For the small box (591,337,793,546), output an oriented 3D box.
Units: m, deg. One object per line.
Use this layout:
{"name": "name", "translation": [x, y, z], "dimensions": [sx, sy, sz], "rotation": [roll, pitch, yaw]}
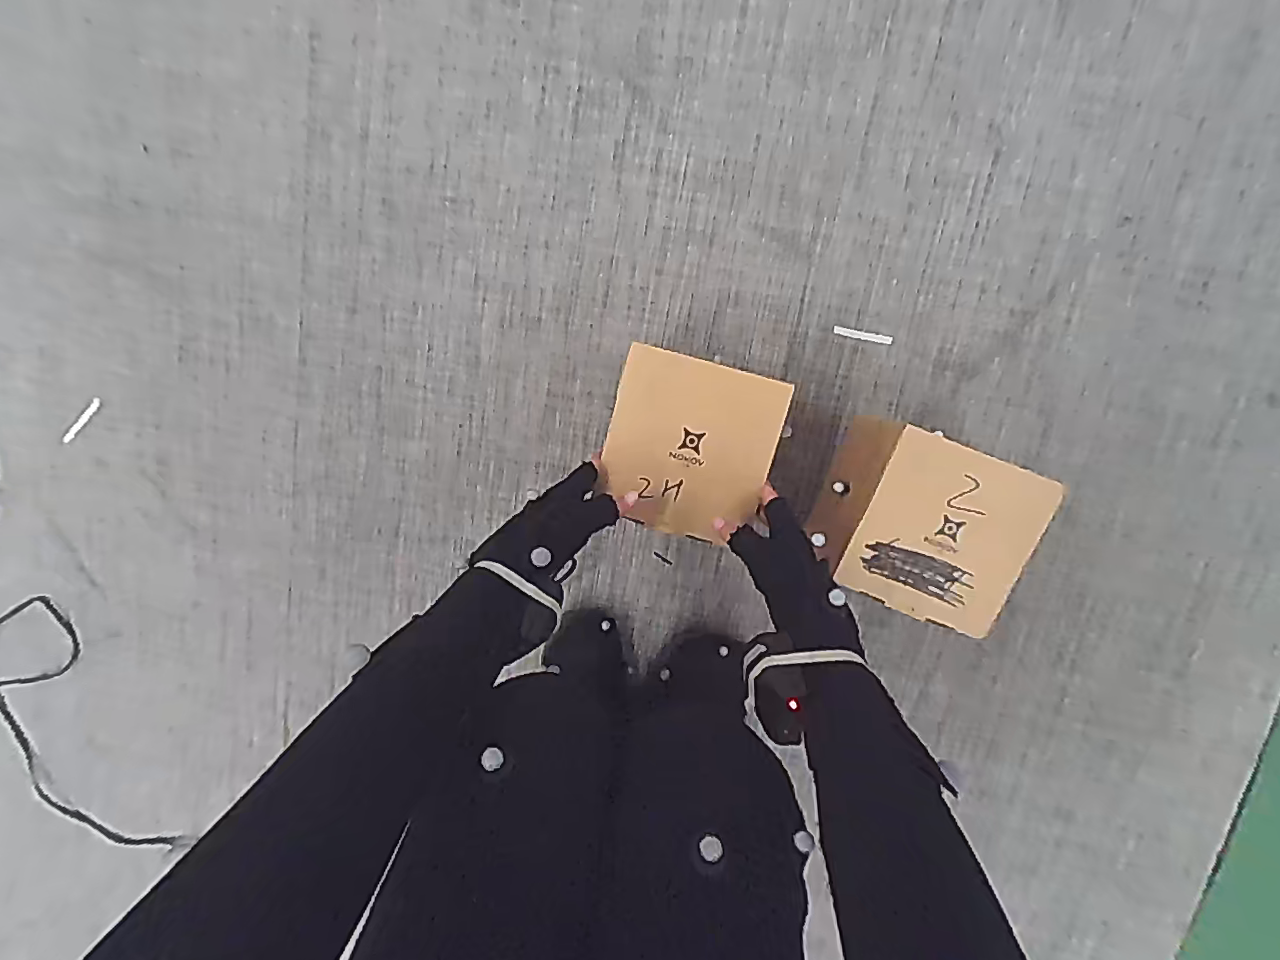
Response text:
{"name": "small box", "translation": [0.056, -0.047, 0.616], "dimensions": [0.168, 0.176, 0.179], "rotation": [16, 99, 4]}
